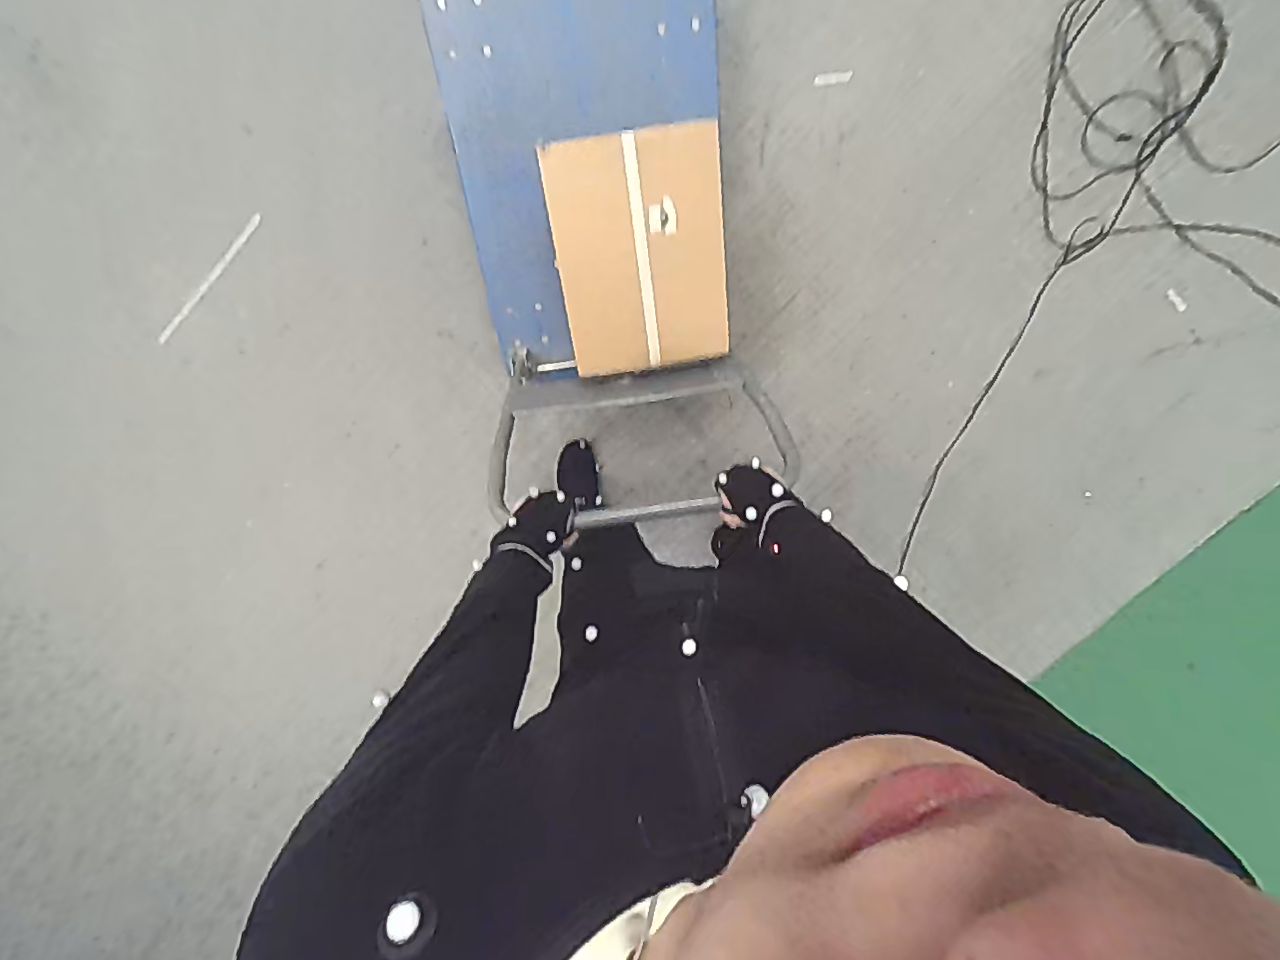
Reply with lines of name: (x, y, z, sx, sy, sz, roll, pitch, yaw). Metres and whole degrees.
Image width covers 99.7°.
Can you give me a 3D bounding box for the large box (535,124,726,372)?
large box: (-0.015, -0.485, 1.159, 0.320, 0.320, 0.408, -10, 117, -1)
